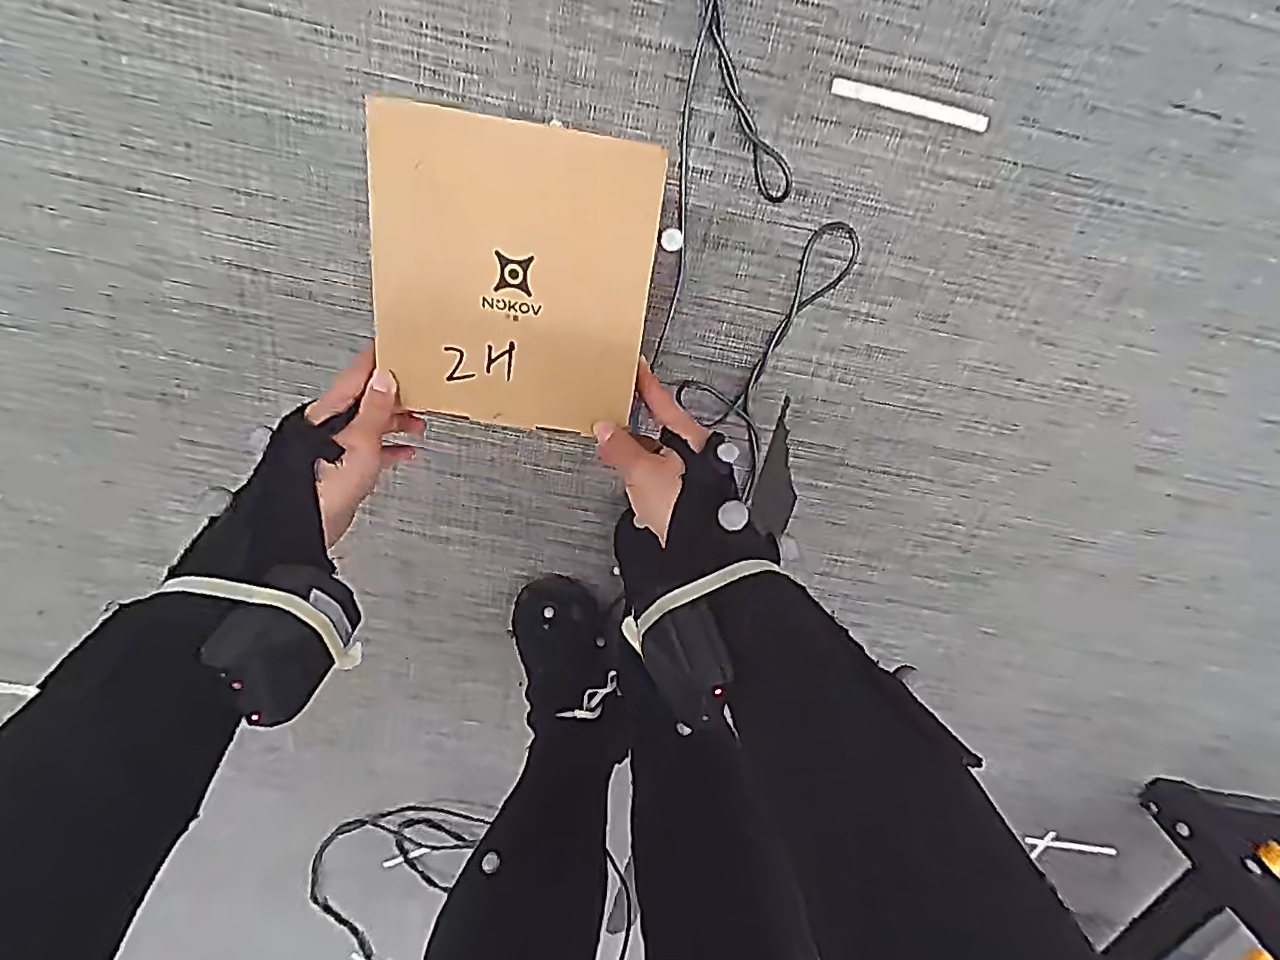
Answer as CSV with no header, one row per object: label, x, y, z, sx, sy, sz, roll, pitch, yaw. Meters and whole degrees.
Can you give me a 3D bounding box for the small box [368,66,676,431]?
small box,-0.075,-0.154,0.389,0.168,0.176,0.179,9,113,-3
